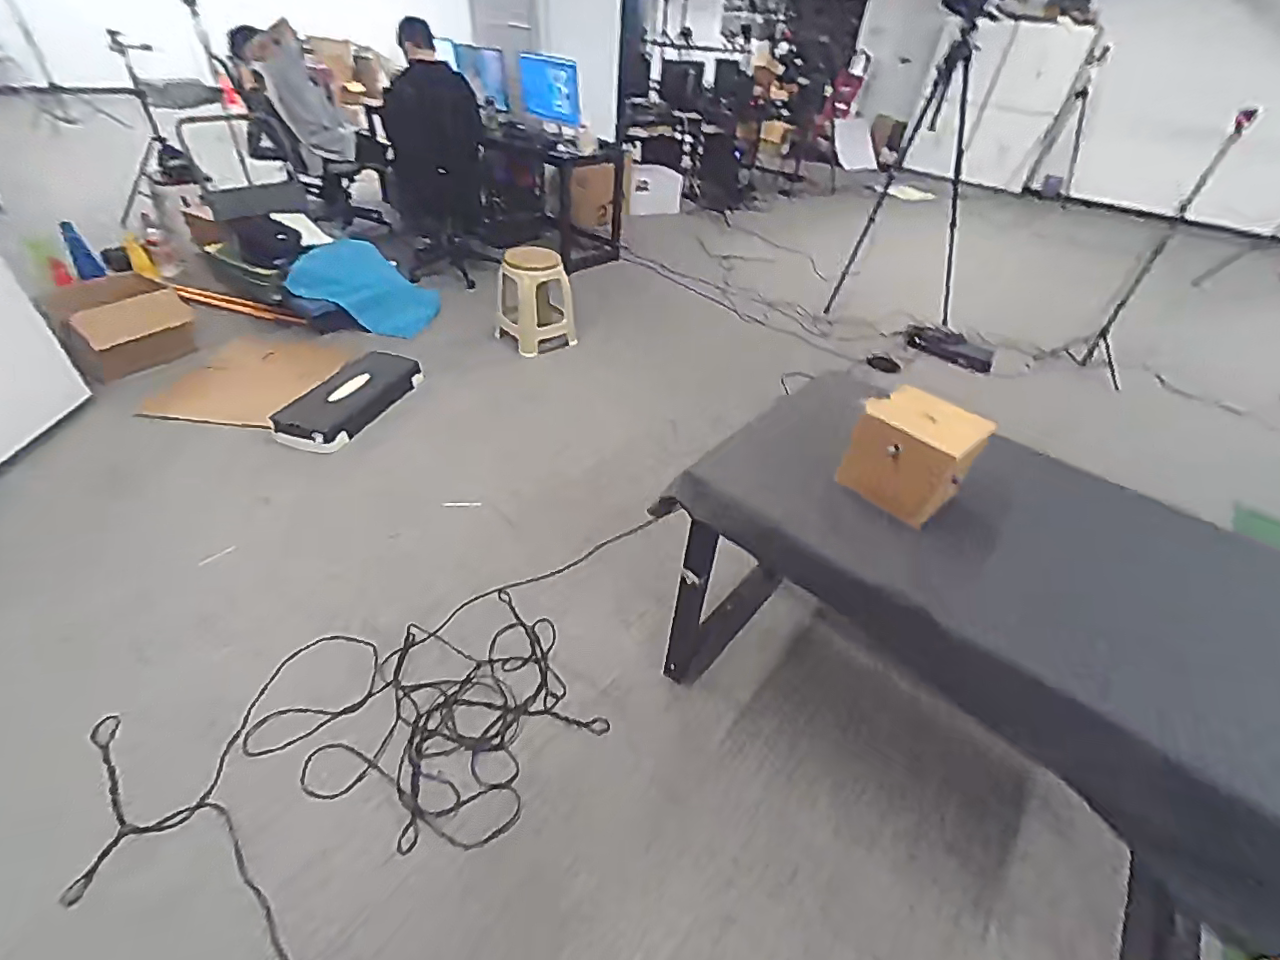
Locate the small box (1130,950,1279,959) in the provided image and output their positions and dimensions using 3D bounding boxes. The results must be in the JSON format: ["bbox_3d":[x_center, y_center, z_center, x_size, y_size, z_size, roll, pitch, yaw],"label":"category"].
[{"bbox_3d":[0.391,0.426,0.315,0.179,0.168,0.176,-15,-3,9],"label":"small box"}]

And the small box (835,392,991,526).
[{"bbox_3d":[0.502,-0.036,1.013,0.168,0.176,0.179,-26,49,-34],"label":"small box"}]
